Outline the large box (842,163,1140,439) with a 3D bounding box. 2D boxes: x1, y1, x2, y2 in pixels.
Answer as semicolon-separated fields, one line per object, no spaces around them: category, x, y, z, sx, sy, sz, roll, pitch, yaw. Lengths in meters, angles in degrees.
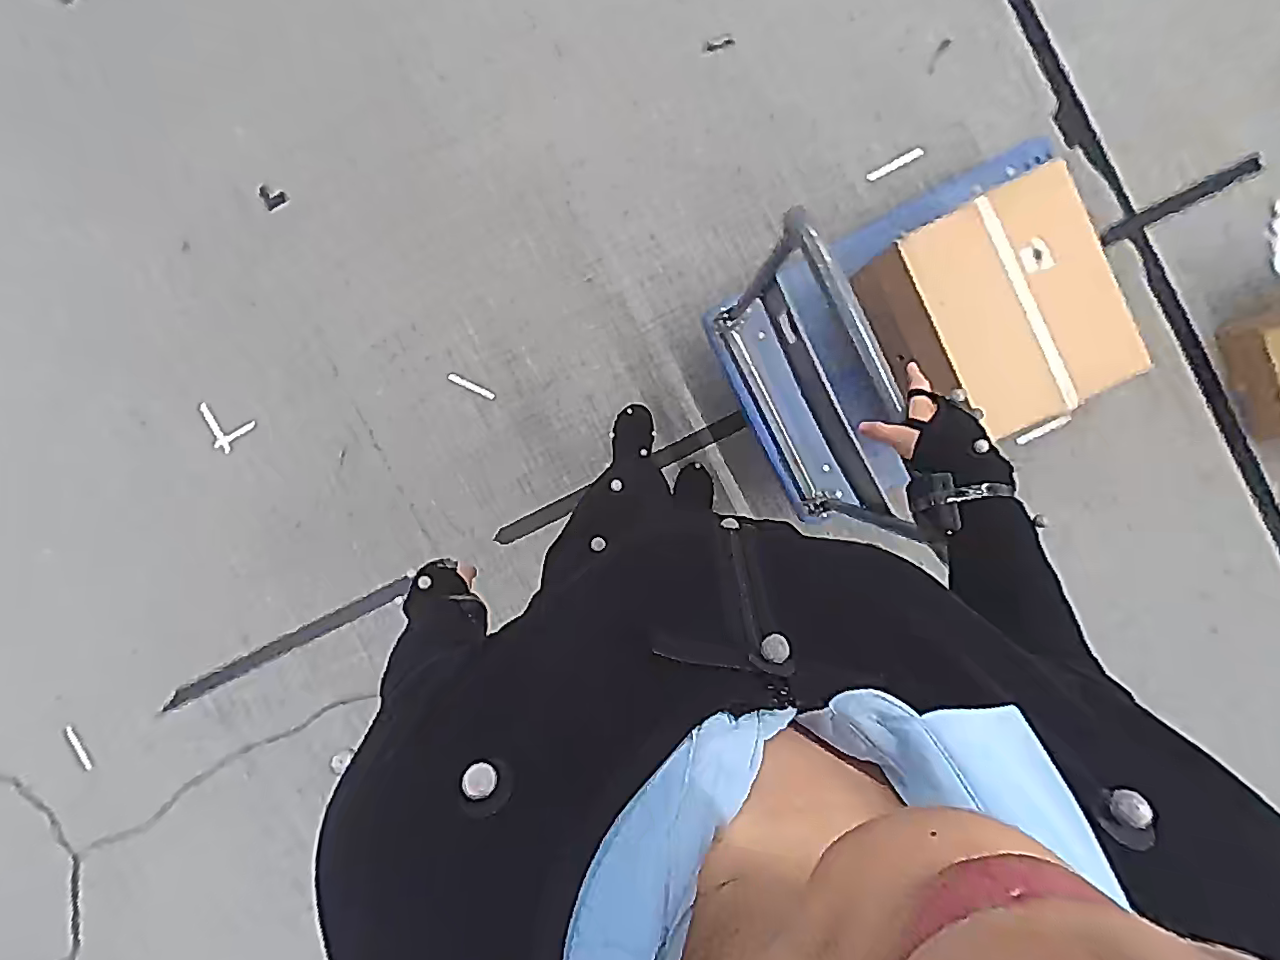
large box;0.685;-0.331;1.124;0.320;0.320;0.408;-26;92;3
